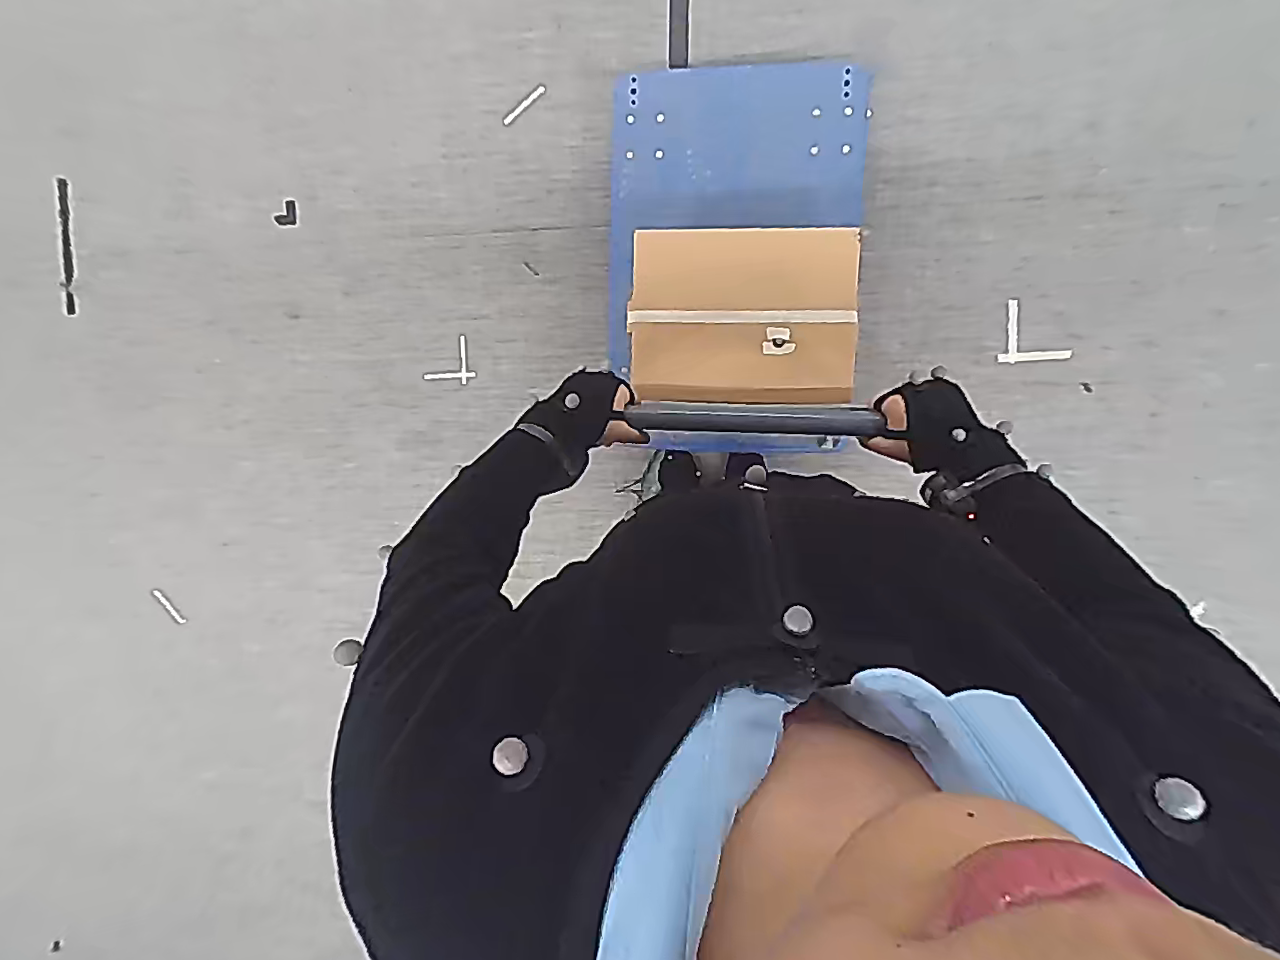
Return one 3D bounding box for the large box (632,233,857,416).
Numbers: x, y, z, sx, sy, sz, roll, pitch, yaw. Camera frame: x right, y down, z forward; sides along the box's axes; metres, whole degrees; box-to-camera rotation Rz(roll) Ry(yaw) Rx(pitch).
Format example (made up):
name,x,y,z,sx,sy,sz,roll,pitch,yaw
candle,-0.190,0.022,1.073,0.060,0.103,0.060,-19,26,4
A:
name,x,y,z,sx,sy,sz,roll,pitch,yaw
large box,0.195,-0.297,1.128,0.408,0.320,0.320,2,96,5
